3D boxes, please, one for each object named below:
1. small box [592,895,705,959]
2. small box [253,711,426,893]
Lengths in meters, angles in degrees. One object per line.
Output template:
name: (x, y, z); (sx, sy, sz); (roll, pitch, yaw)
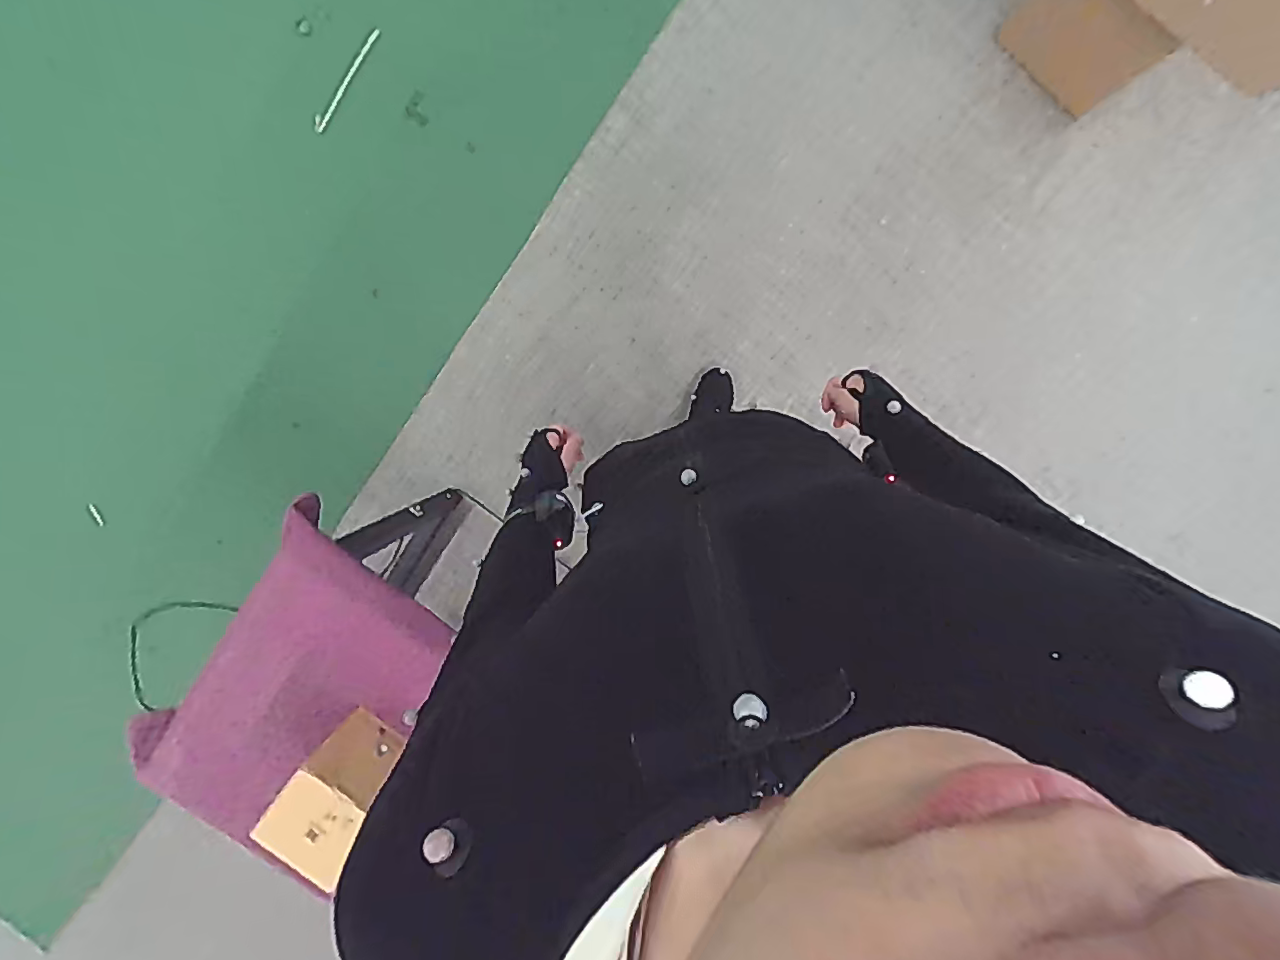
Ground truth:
small box: (0.009, 0.906, 0.966); (0.168, 0.176, 0.179); (33, 102, -1)
small box: (-0.511, 0.553, 0.949); (0.168, 0.176, 0.179); (38, 100, -3)
